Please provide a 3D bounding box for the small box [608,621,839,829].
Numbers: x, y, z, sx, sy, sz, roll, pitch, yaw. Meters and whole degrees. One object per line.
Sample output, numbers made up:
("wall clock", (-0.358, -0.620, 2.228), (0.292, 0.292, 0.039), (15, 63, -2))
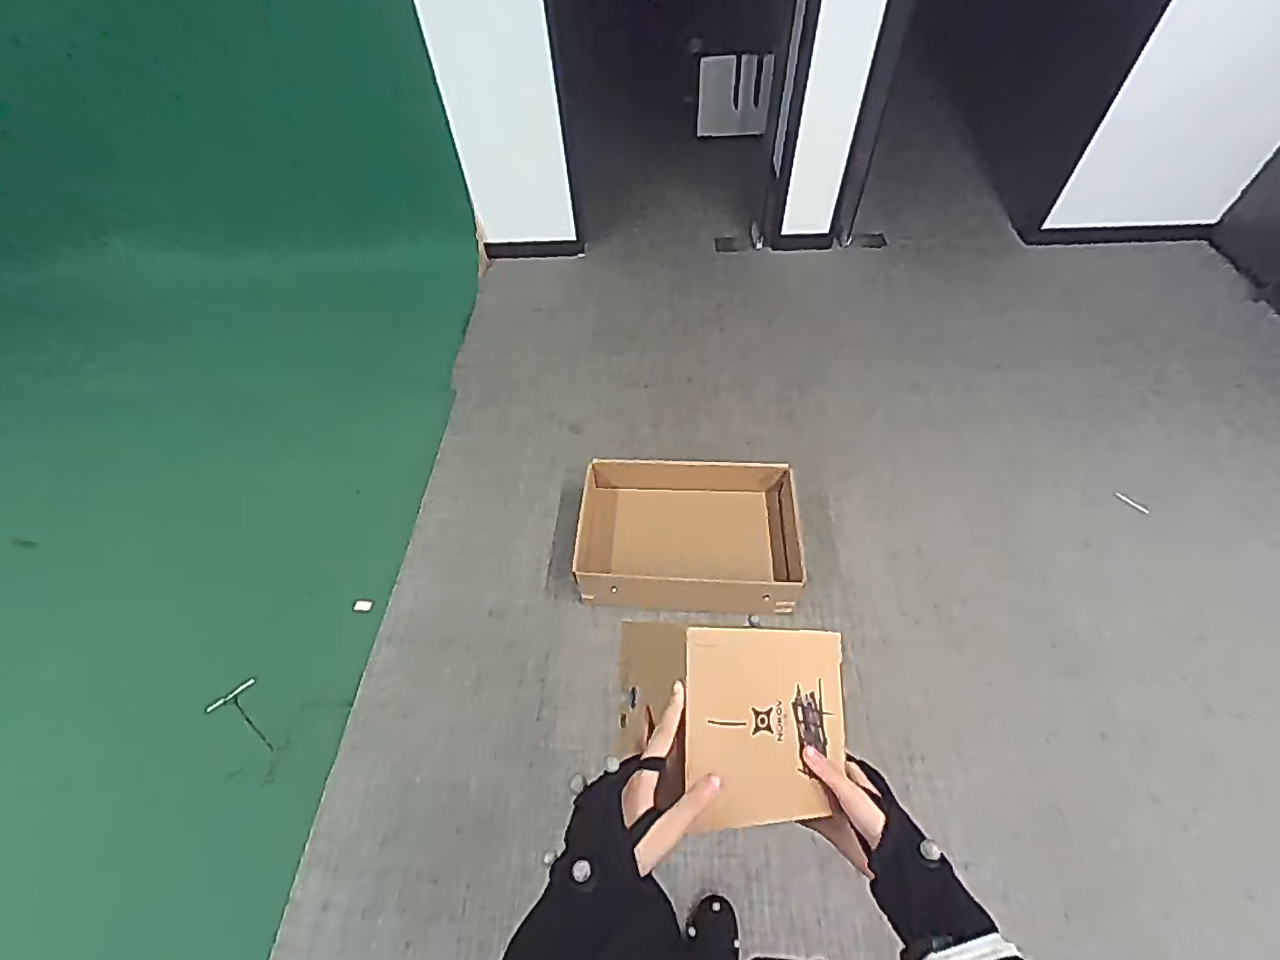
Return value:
("small box", (0.079, 0.237, 0.565), (0.179, 0.176, 0.168), (8, 74, -20))
